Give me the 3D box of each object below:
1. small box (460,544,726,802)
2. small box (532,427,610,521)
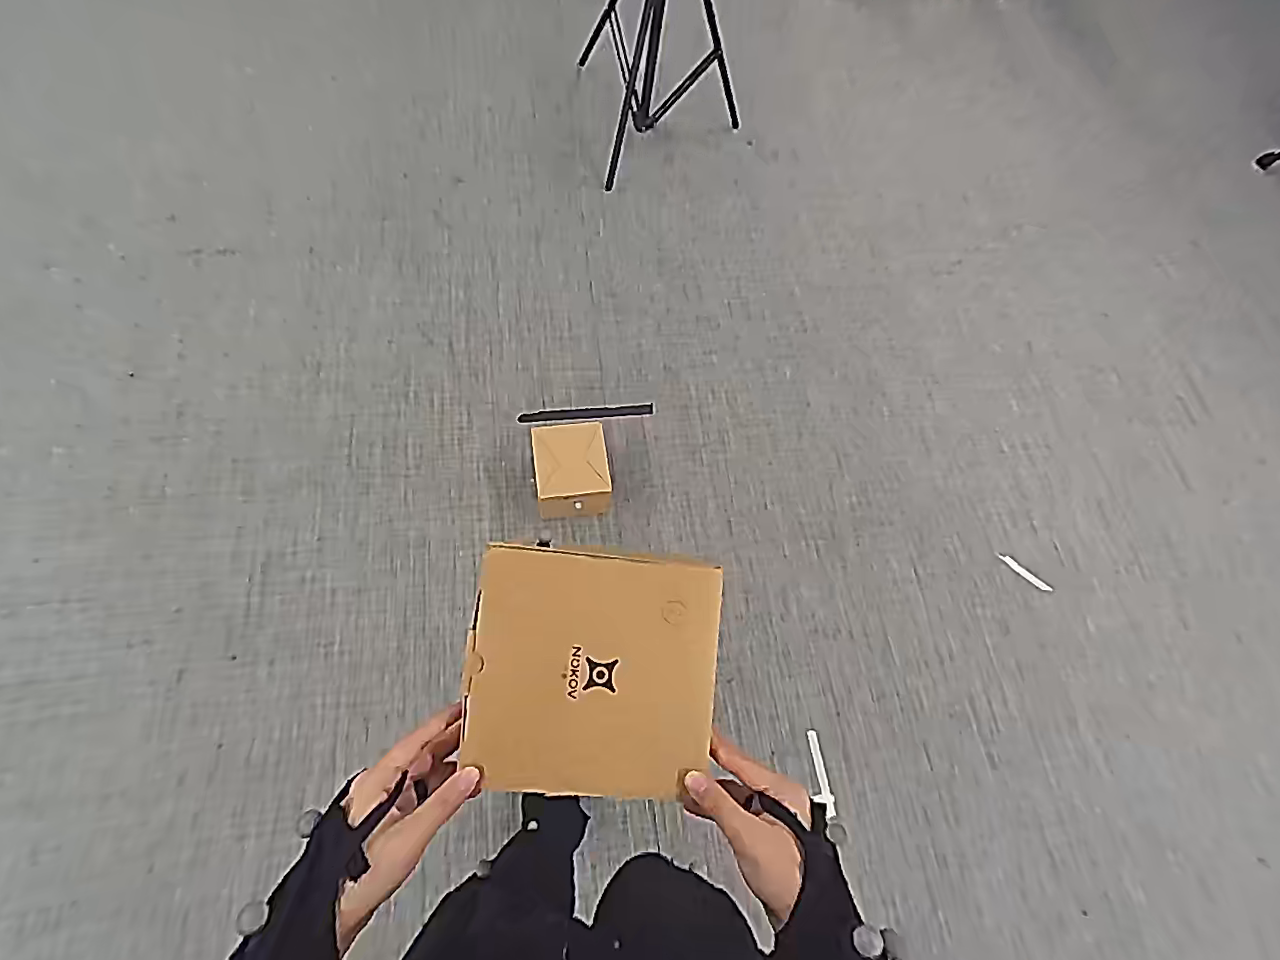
[{"bbox_3d":[-0.037,0.146,0.464,0.179,0.176,0.168,6,84,-4],"label":"small box"},{"bbox_3d":[-0.169,-0.014,1.302,0.168,0.176,0.179,-6,70,-10],"label":"small box"}]
